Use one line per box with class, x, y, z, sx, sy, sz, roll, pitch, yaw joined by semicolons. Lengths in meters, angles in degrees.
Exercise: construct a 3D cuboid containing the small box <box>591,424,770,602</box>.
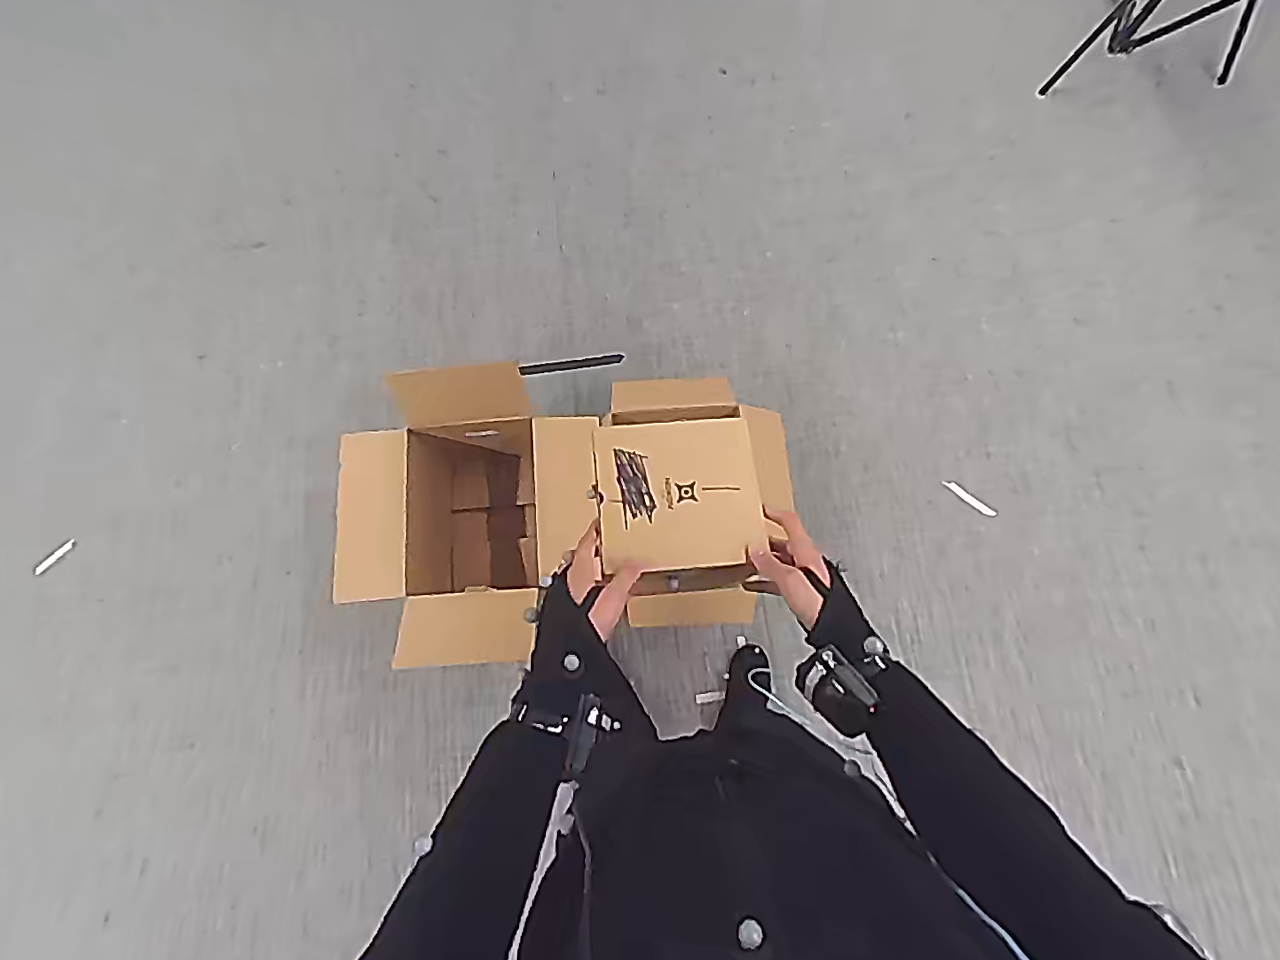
small box;0.037;0.047;0.643;0.179;0.176;0.168;-4;70;-4
